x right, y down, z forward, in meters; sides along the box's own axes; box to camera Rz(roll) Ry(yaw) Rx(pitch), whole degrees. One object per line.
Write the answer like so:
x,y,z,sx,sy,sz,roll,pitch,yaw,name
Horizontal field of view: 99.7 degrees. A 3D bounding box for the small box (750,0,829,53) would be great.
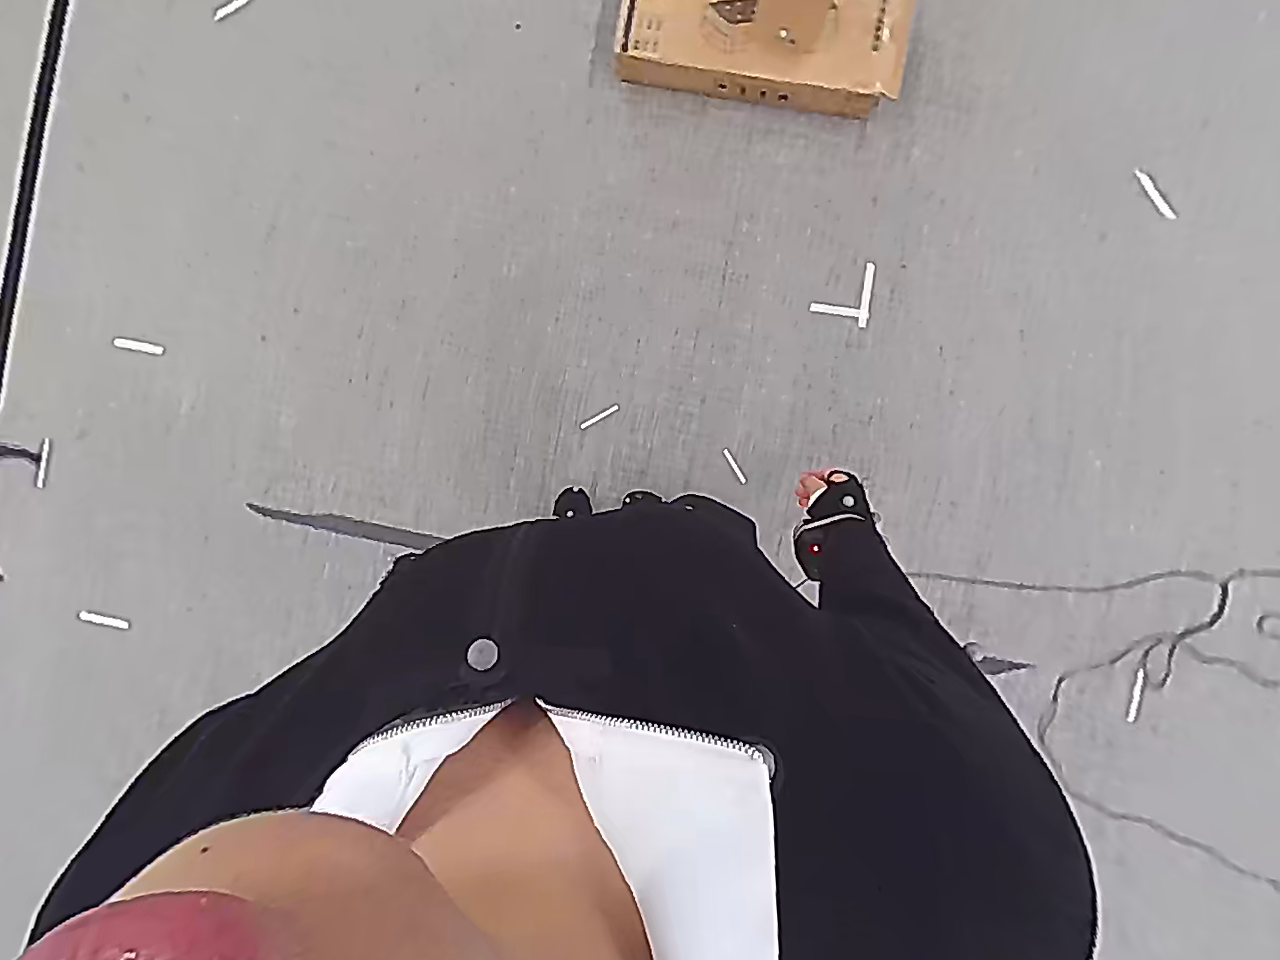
0.372,-1.188,1.298,0.168,0.176,0.179,14,91,3,small box
